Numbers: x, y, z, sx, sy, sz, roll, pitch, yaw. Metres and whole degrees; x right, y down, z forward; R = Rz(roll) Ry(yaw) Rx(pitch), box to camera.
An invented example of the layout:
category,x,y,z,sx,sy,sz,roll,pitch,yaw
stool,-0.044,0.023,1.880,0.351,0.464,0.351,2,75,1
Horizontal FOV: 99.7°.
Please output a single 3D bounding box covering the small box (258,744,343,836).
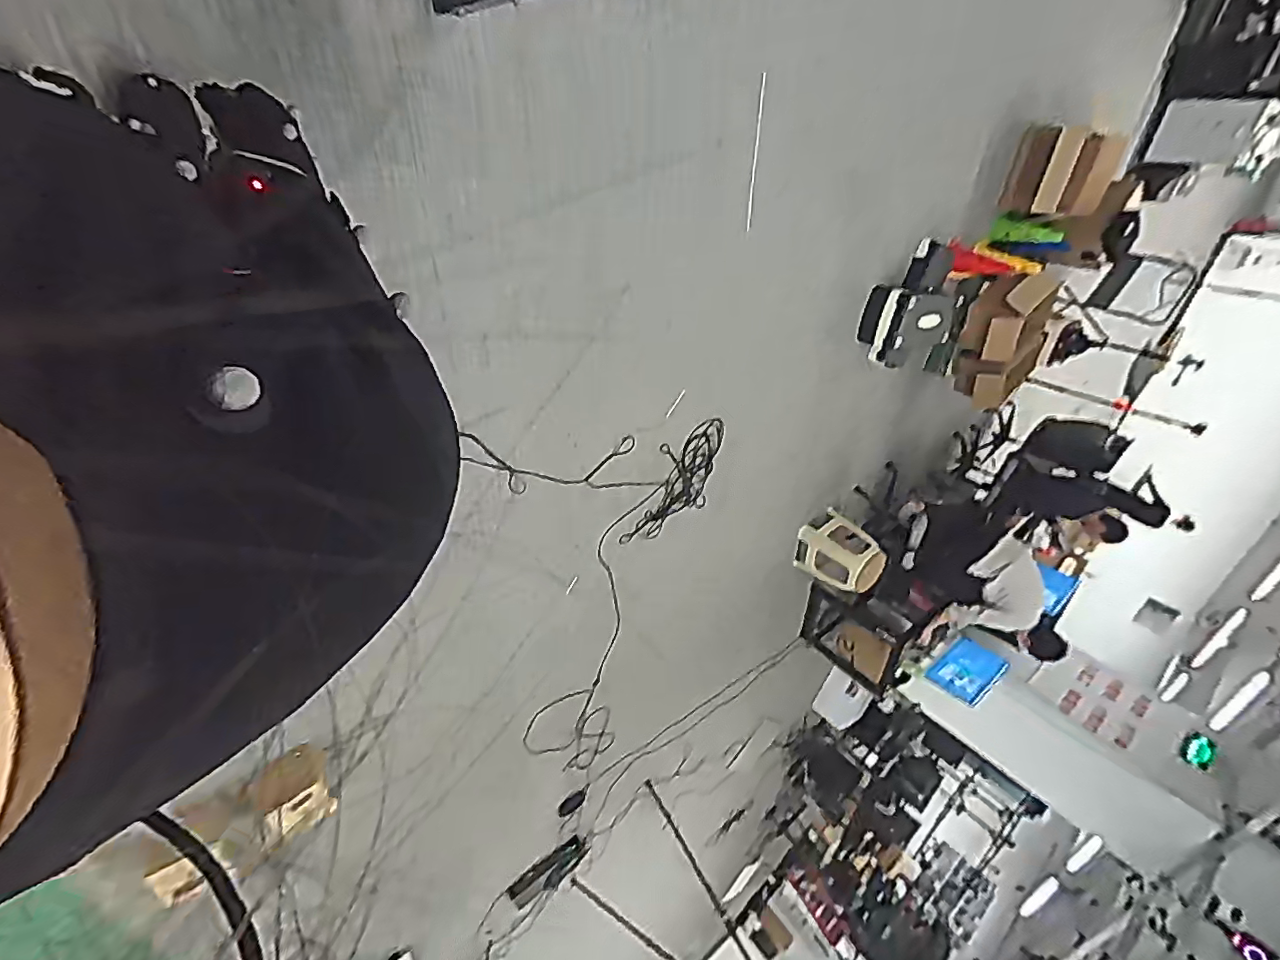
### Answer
category,x,y,z,sx,sy,sz,roll,pitch,yaw
small box,-1.107,0.999,1.760,0.168,0.176,0.179,-29,134,-26
